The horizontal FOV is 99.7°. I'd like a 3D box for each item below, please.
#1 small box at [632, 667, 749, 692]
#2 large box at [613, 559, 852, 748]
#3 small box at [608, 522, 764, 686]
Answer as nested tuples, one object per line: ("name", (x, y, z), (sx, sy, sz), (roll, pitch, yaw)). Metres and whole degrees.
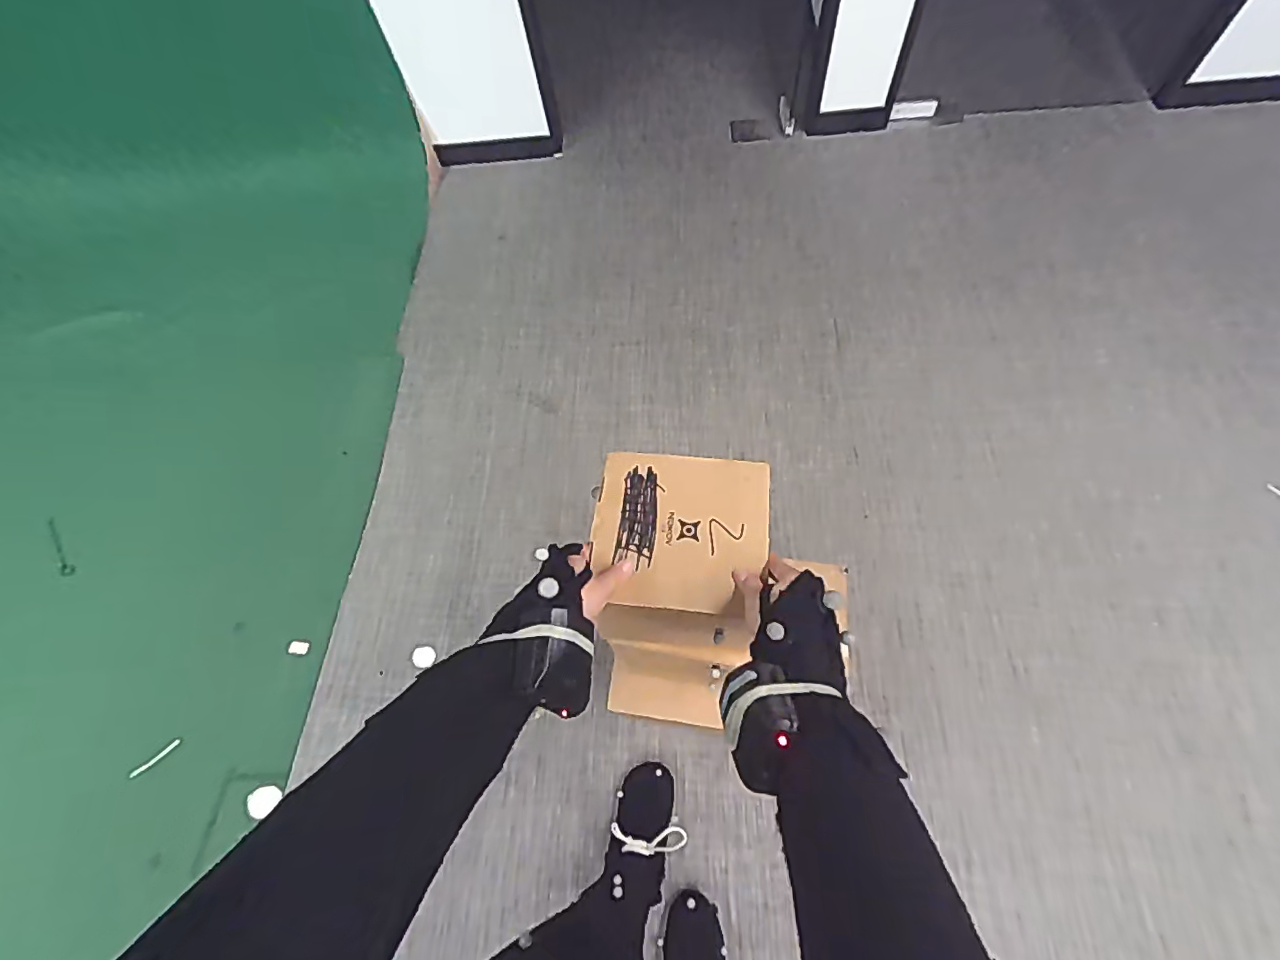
("small box", (0.086, 0.245, 0.887), (0.179, 0.176, 0.168), (5, 62, 9))
("large box", (0.175, 0.349, 1.096), (0.408, 0.320, 0.320), (5, 65, 7))
("small box", (0.066, 0.176, 0.742), (0.179, 0.176, 0.168), (8, 62, 8))
